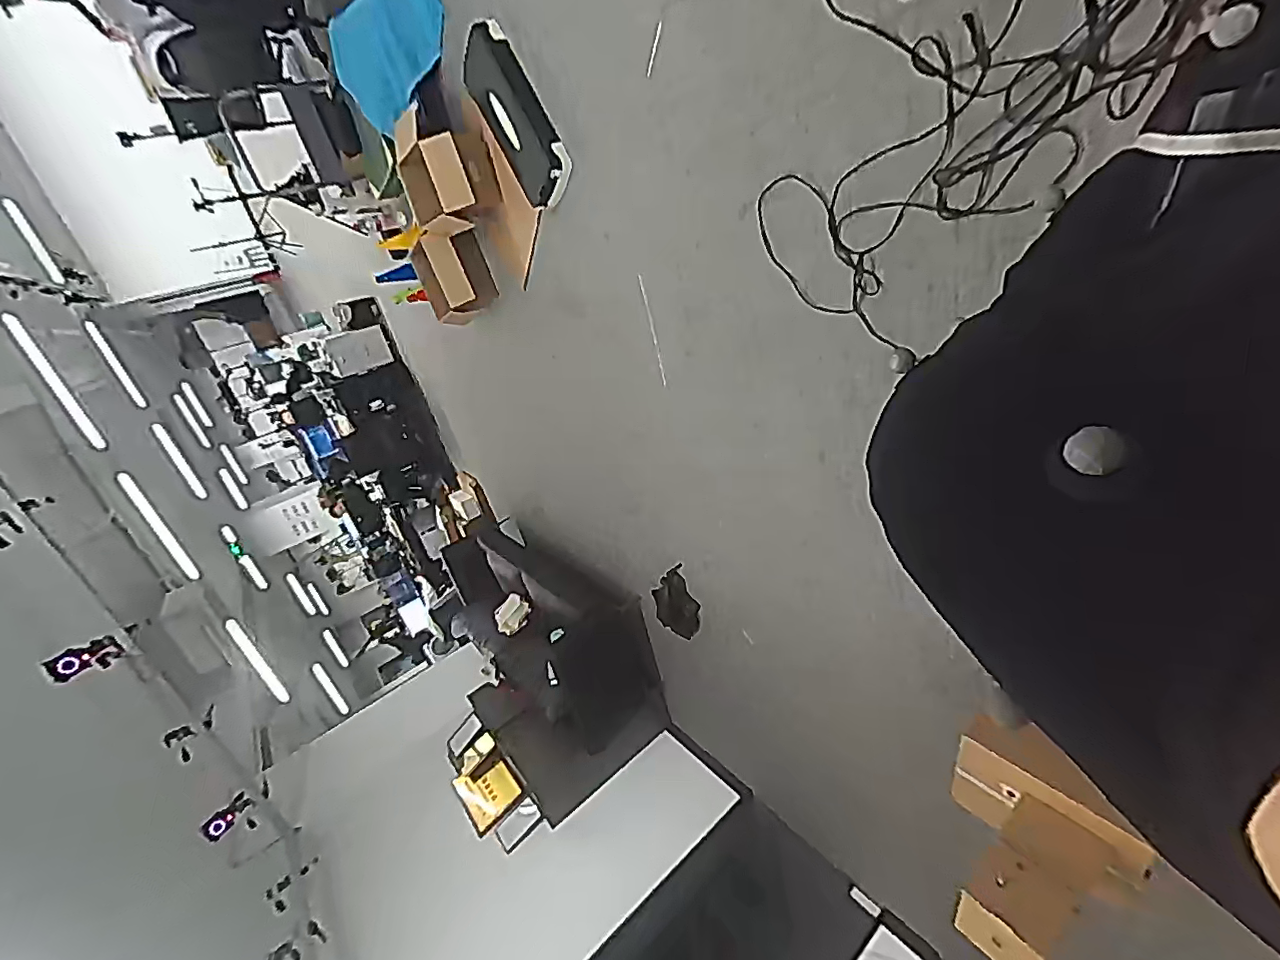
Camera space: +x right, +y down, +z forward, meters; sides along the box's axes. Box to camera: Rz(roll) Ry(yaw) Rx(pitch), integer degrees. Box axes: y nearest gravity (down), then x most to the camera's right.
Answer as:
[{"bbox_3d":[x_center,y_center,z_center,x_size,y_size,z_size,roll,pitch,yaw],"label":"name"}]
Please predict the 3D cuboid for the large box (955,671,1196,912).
[{"bbox_3d":[1.143,0.805,1.453,0.408,0.320,0.320,26,136,48],"label":"large box"}]

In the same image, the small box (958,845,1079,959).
[{"bbox_3d":[0.854,0.983,1.224,0.168,0.176,0.179,27,138,49],"label":"small box"}]
